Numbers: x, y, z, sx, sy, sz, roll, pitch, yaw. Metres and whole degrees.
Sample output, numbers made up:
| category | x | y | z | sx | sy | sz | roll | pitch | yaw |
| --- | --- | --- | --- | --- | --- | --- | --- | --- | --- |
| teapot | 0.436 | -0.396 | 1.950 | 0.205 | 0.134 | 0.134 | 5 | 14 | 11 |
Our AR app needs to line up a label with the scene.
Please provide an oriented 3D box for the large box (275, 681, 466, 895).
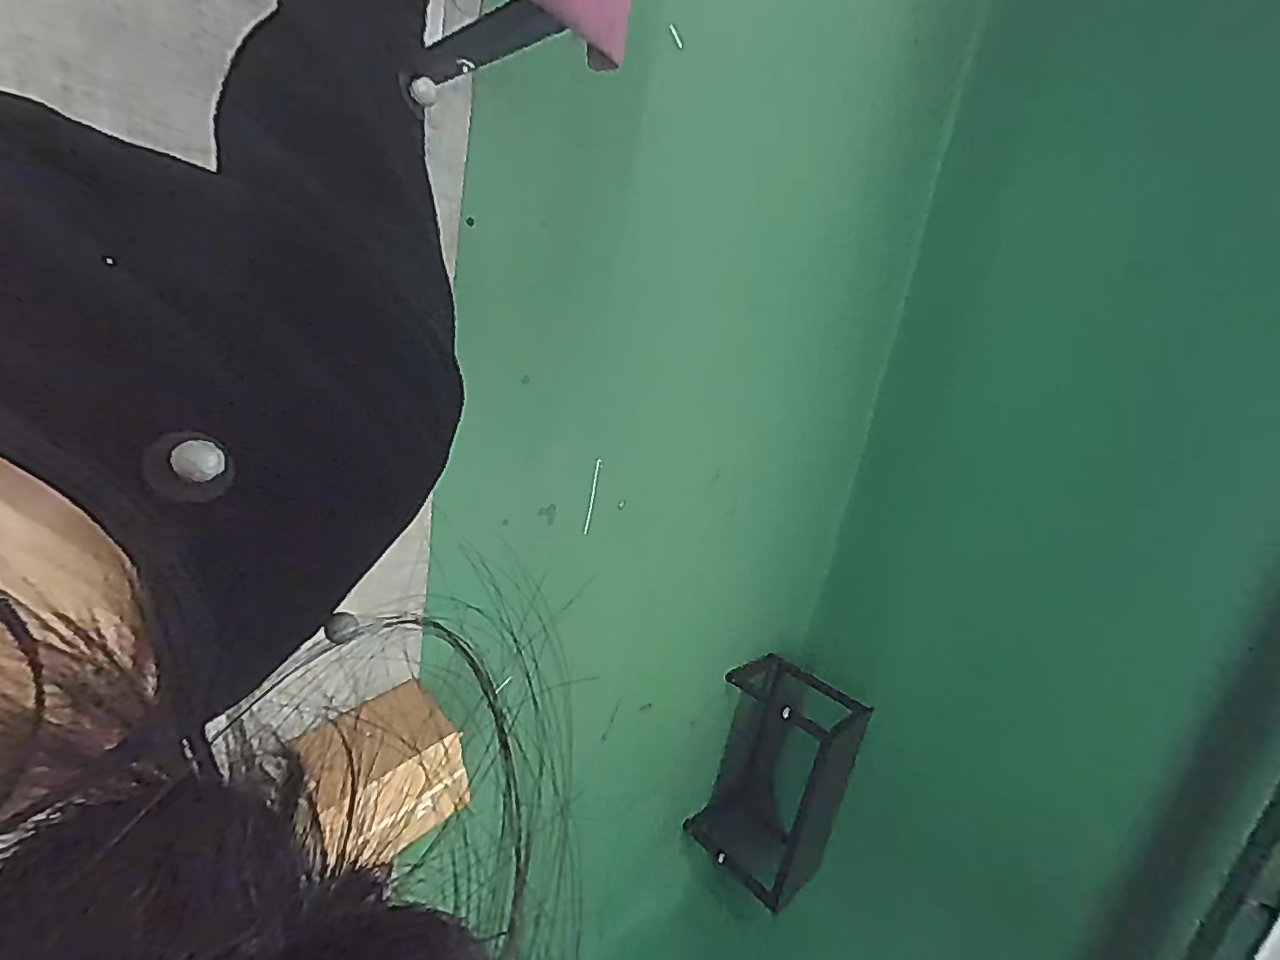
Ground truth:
| category | x | y | z | sx | sy | sz | roll | pitch | yaw |
| --- | --- | --- | --- | --- | --- | --- | --- | --- | --- |
| large box | -0.801 | 0.899 | 1.635 | 0.408 | 0.320 | 0.320 | -21 | 122 | -41 |
